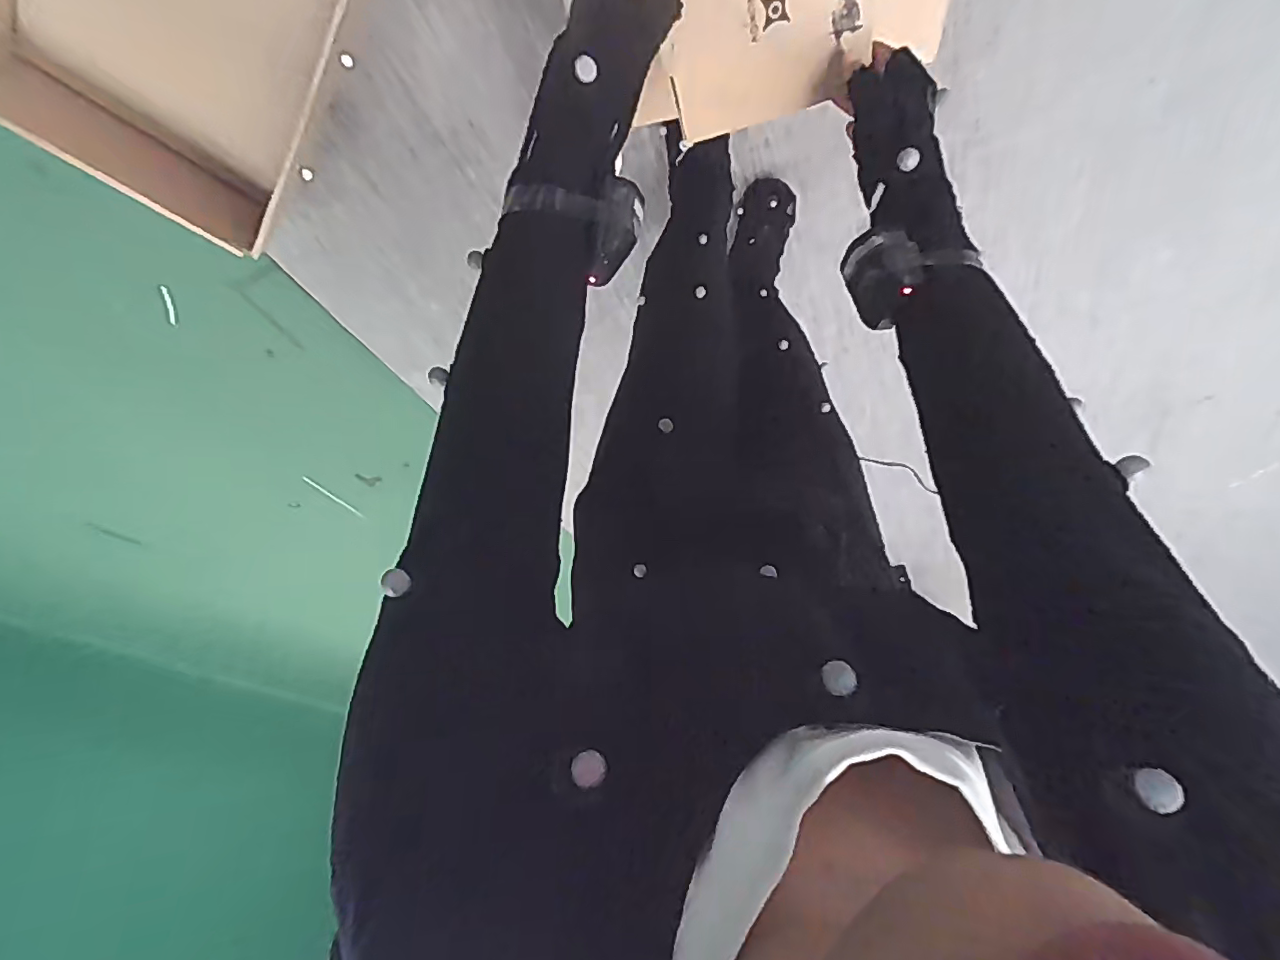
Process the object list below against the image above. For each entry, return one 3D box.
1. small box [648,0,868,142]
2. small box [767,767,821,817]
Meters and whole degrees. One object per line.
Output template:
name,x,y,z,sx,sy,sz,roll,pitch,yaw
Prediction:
small box,0.103,-0.455,0.496,0.179,0.176,0.168,-8,145,15
small box,0.628,1.275,2.213,0.168,0.176,0.179,-17,142,24
